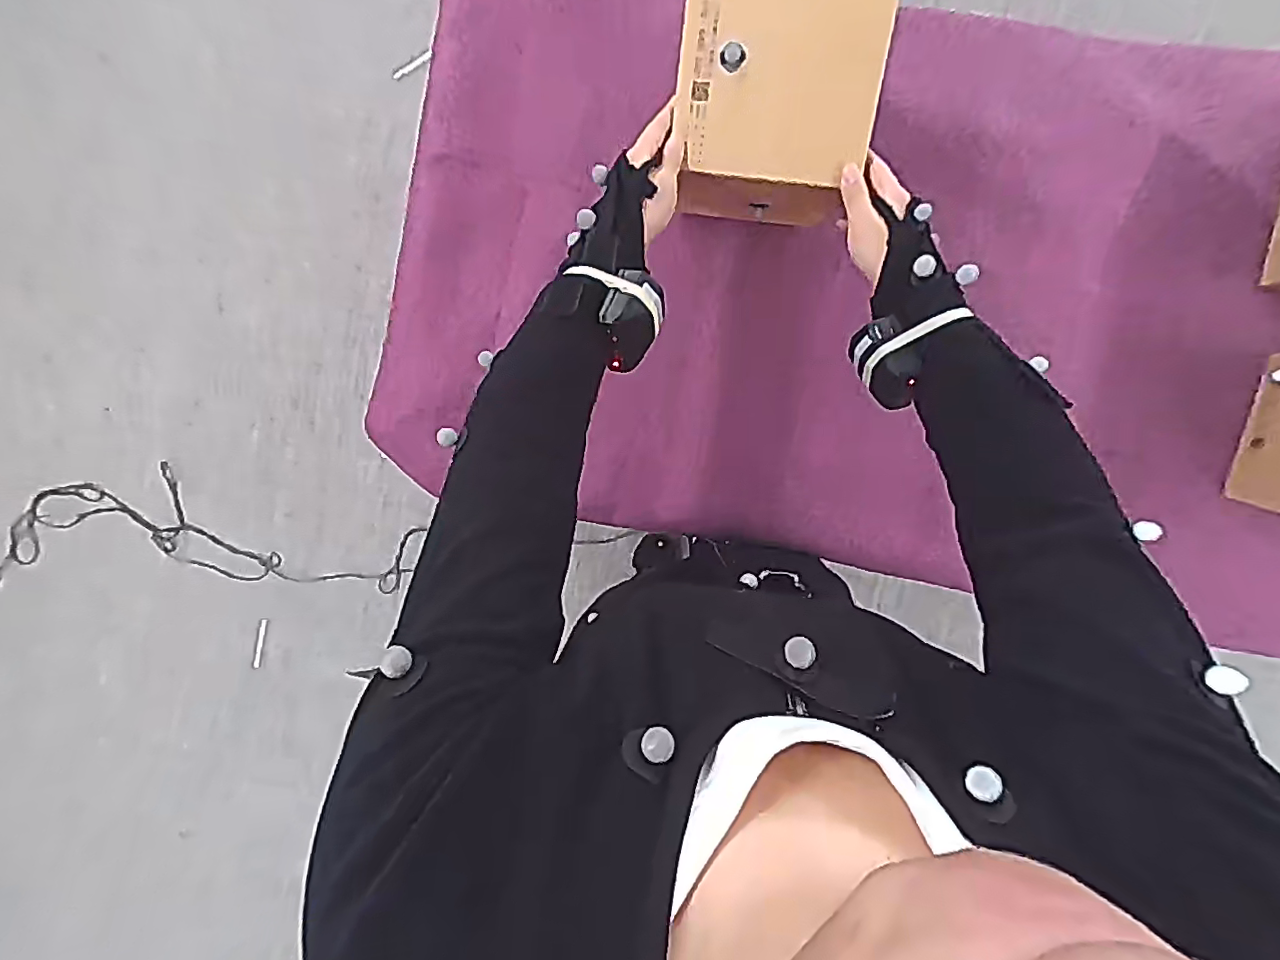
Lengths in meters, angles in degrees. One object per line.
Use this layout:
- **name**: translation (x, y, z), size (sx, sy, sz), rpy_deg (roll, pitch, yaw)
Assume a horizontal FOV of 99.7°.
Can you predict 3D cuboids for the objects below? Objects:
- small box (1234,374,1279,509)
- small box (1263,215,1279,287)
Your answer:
- **small box**: translation (0.744, -0.036, 0.508), size (0.179, 0.176, 0.168), rpy_deg (17, 92, 4)
- **small box**: translation (0.769, -0.270, 0.497), size (0.179, 0.176, 0.168), rpy_deg (11, 94, 4)
